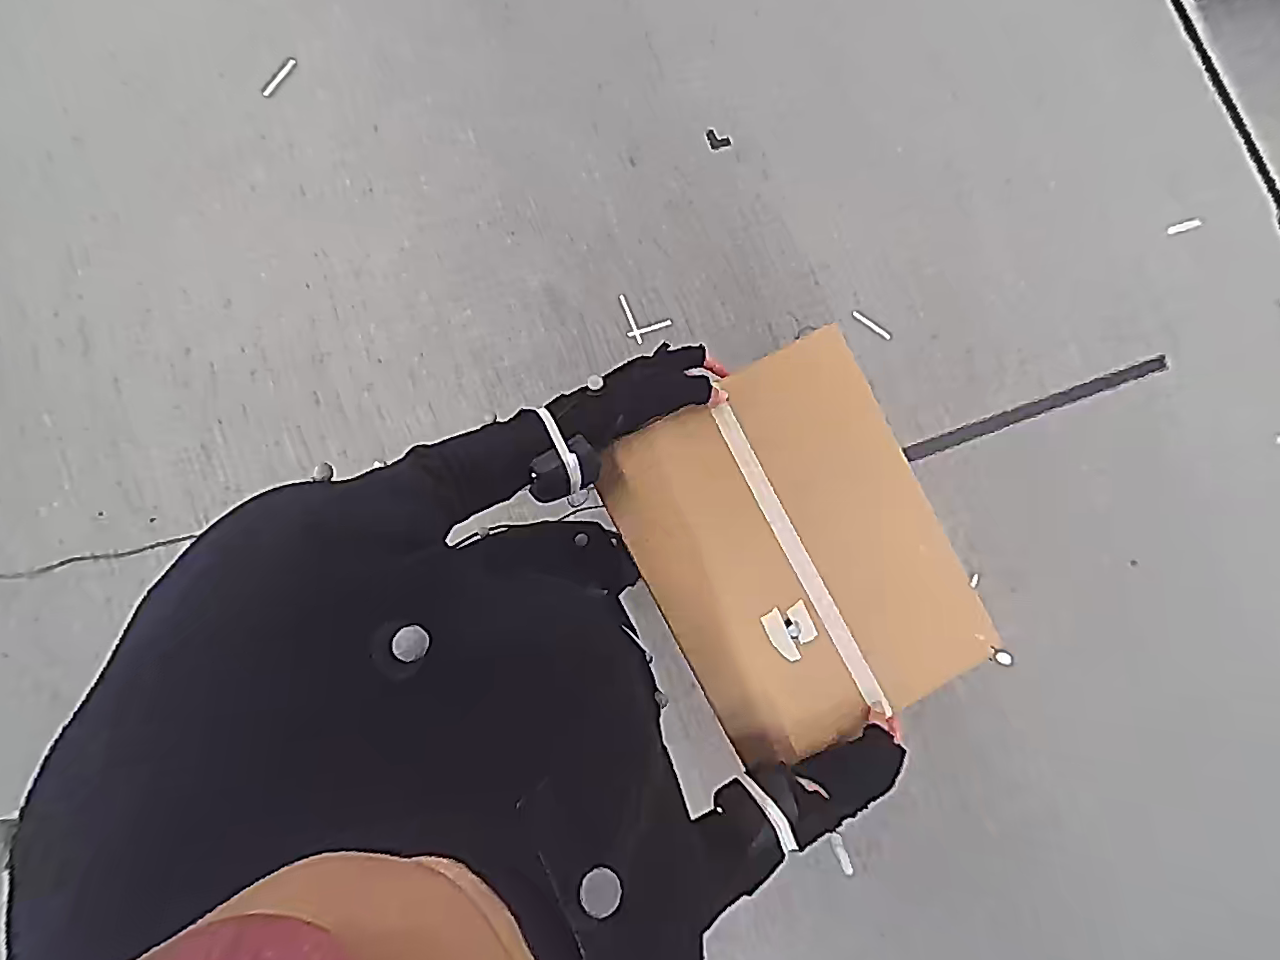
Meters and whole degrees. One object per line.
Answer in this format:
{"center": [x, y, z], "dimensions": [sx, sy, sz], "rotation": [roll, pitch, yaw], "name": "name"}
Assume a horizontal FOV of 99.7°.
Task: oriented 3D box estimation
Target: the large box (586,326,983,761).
{"center": [0.155, 0.068, 0.749], "dimensions": [0.320, 0.320, 0.408], "rotation": [-28, 92, -2], "name": "large box"}
